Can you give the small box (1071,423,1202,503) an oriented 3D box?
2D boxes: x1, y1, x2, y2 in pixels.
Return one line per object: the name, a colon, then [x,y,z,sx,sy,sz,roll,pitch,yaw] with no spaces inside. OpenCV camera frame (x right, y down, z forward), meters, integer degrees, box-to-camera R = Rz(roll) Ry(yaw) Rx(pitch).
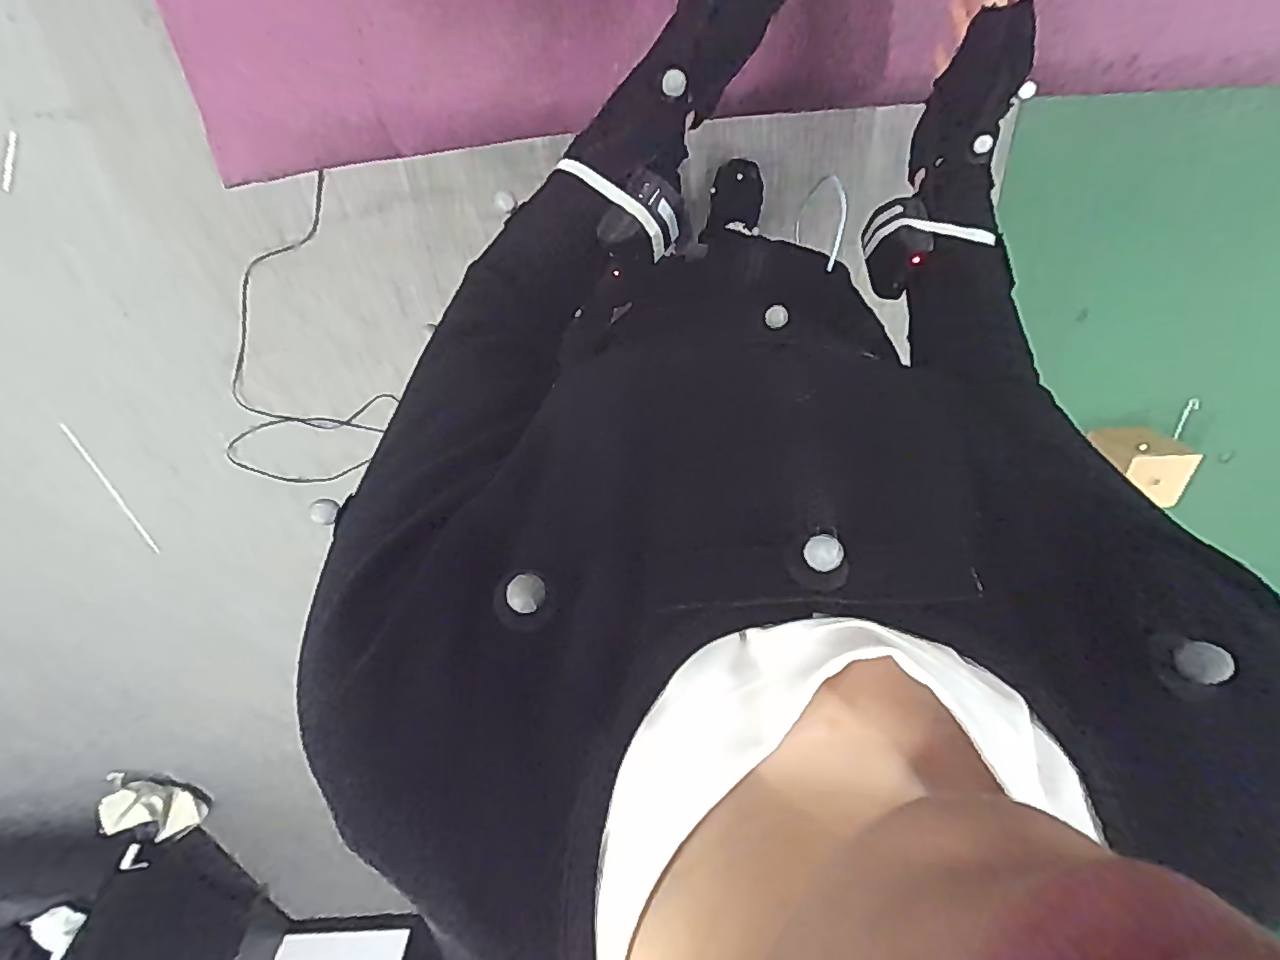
small box: [1.369,-0.051,1.505,0.179,0.176,0.168,-2,122,2]
